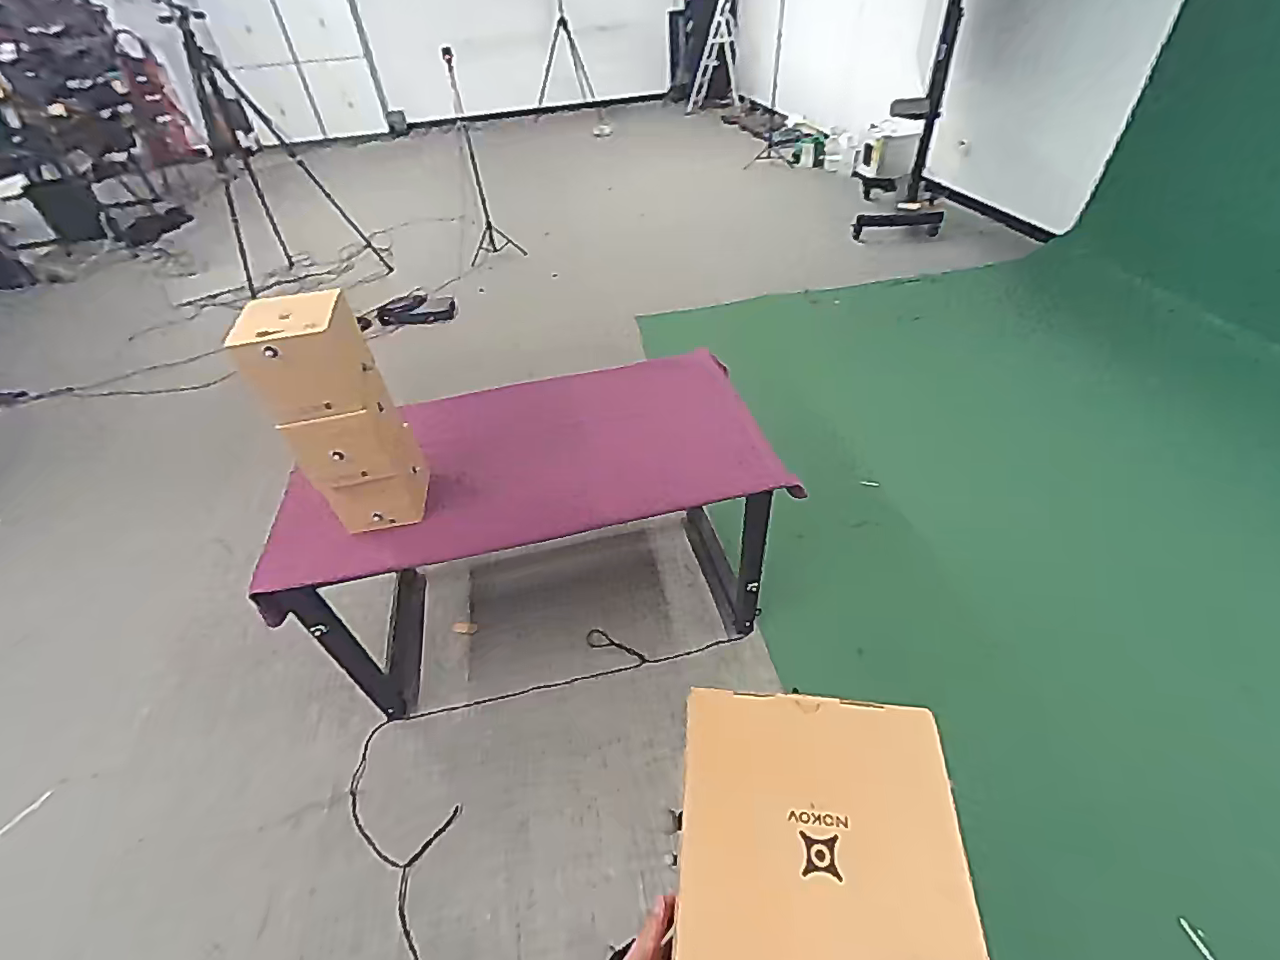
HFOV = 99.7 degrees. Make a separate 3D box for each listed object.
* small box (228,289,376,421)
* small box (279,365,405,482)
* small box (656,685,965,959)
[{"bbox_3d":[-0.619,-0.235,1.020,0.168,0.176,0.179,-12,44,-7],"label":"small box"},{"bbox_3d":[-0.608,-0.112,1.128,0.168,0.176,0.179,-11,44,-7],"label":"small box"},{"bbox_3d":[0.104,0.270,0.386,0.168,0.176,0.179,3,49,7],"label":"small box"}]
